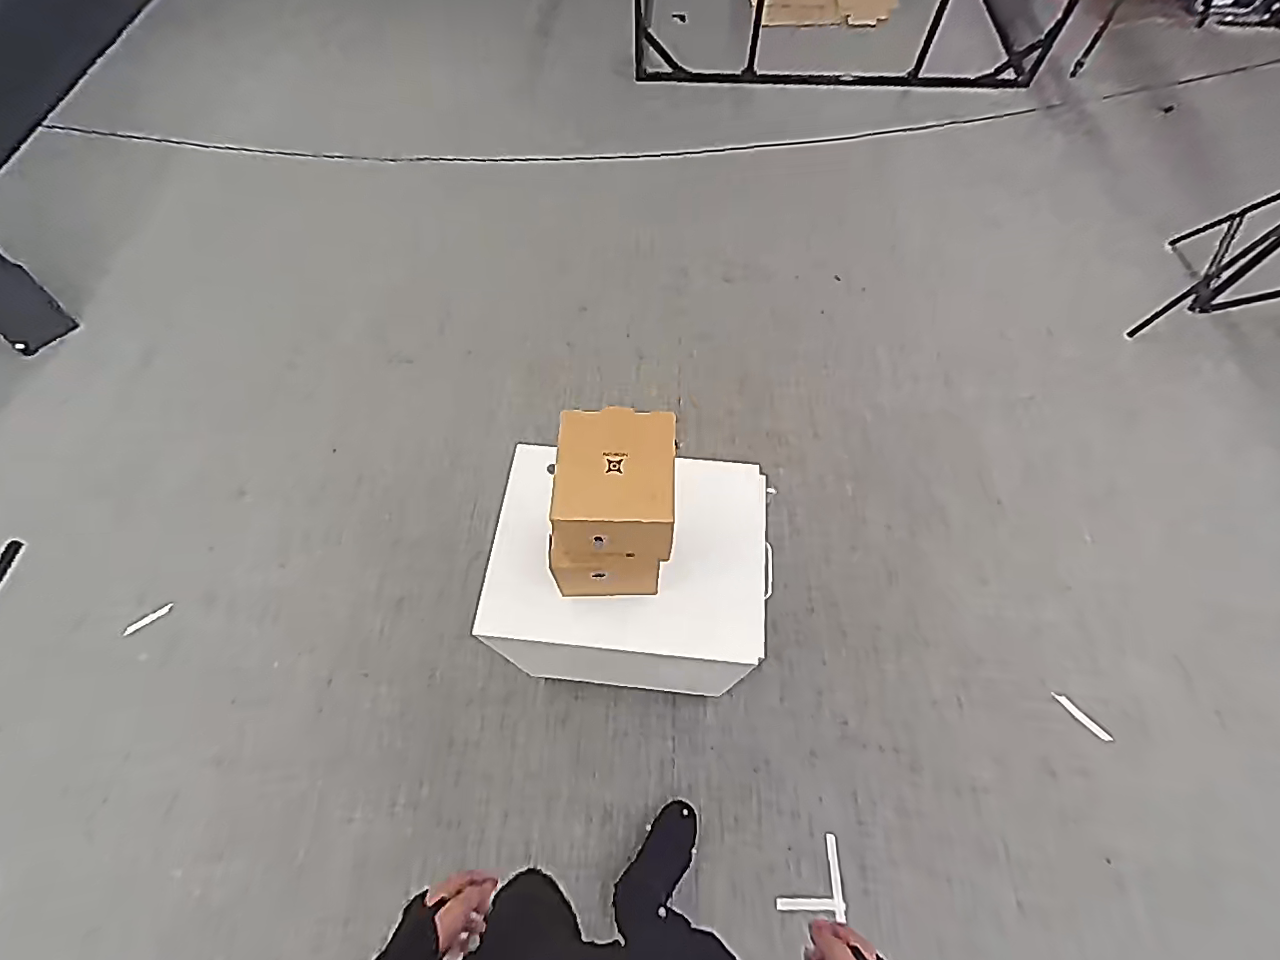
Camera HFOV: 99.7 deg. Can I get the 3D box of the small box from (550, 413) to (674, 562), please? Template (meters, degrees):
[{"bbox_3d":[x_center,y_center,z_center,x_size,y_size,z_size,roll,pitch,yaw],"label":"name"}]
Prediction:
[{"bbox_3d":[-0.034,0.018,0.817,0.168,0.176,0.179,1,62,1],"label":"small box"}]

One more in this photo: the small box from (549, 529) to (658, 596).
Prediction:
[{"bbox_3d":[-0.057,0.104,0.955,0.179,0.176,0.168,-1,63,-1],"label":"small box"}]
